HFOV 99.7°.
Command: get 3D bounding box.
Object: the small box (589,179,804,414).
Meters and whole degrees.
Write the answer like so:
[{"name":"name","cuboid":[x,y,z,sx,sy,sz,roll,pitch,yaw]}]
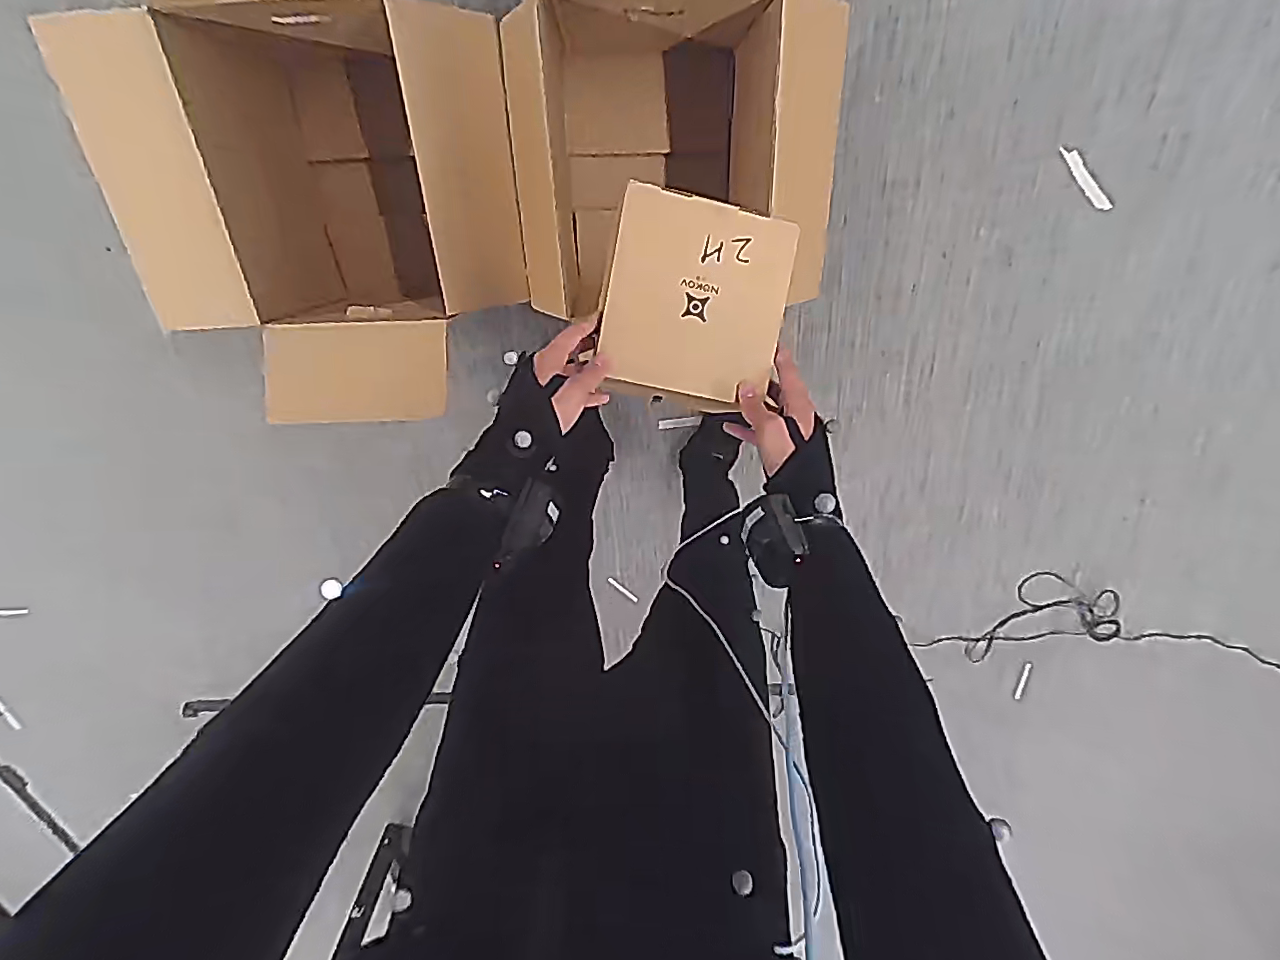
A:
[{"name":"small box","cuboid":[0.043,-0.170,0.564,0.168,0.176,0.179,11,94,-10]}]
